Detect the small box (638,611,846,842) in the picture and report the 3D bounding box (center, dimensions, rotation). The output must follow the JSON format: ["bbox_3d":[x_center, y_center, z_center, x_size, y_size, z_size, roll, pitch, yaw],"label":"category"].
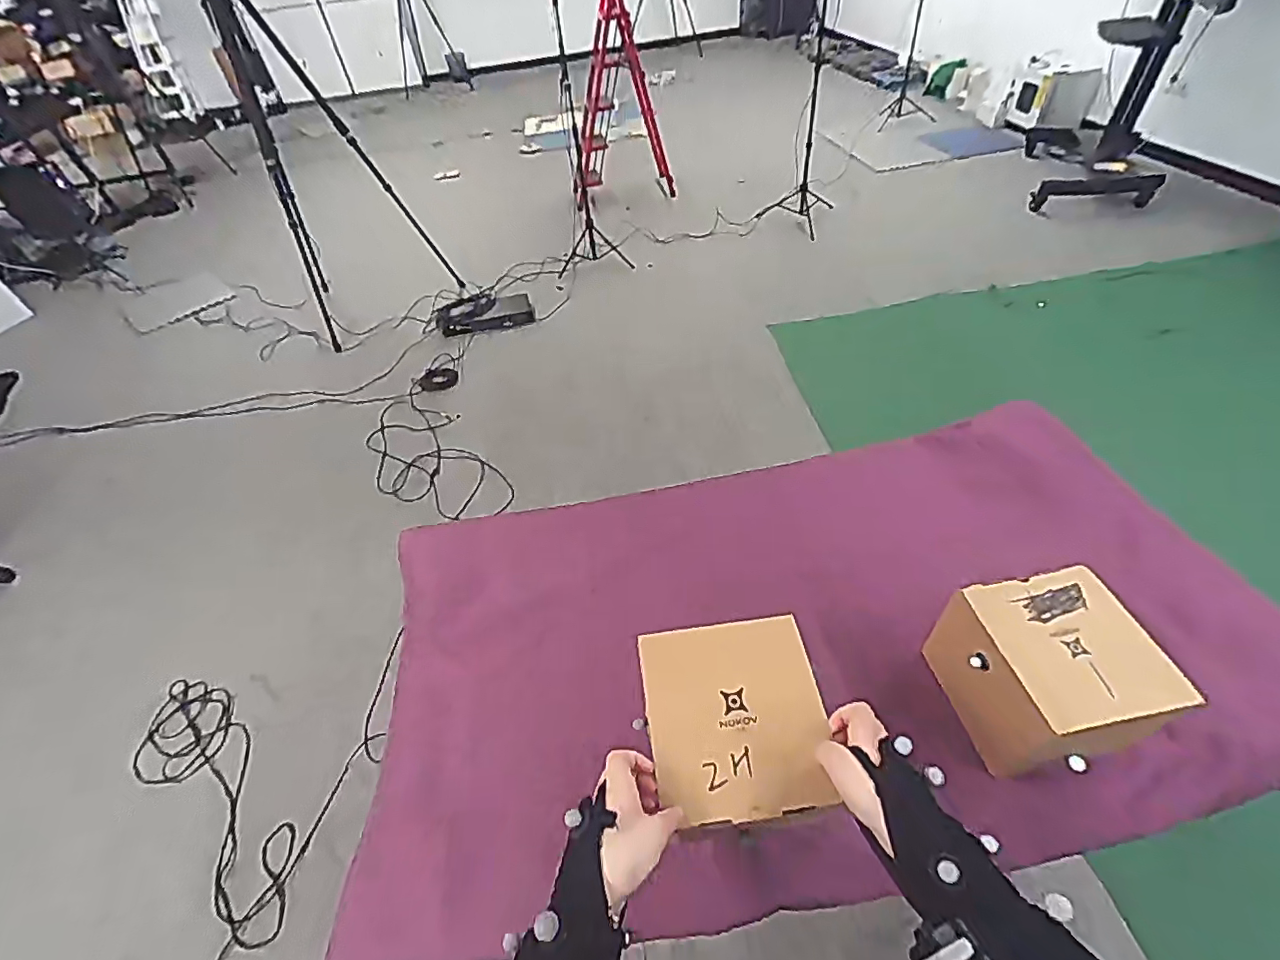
[{"bbox_3d":[0.089,0.261,0.567,0.168,0.176,0.179,-7,53,-1],"label":"small box"}]

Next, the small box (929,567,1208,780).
[{"bbox_3d":[0.487,0.234,0.656,0.168,0.176,0.179,-10,47,-2],"label":"small box"}]
